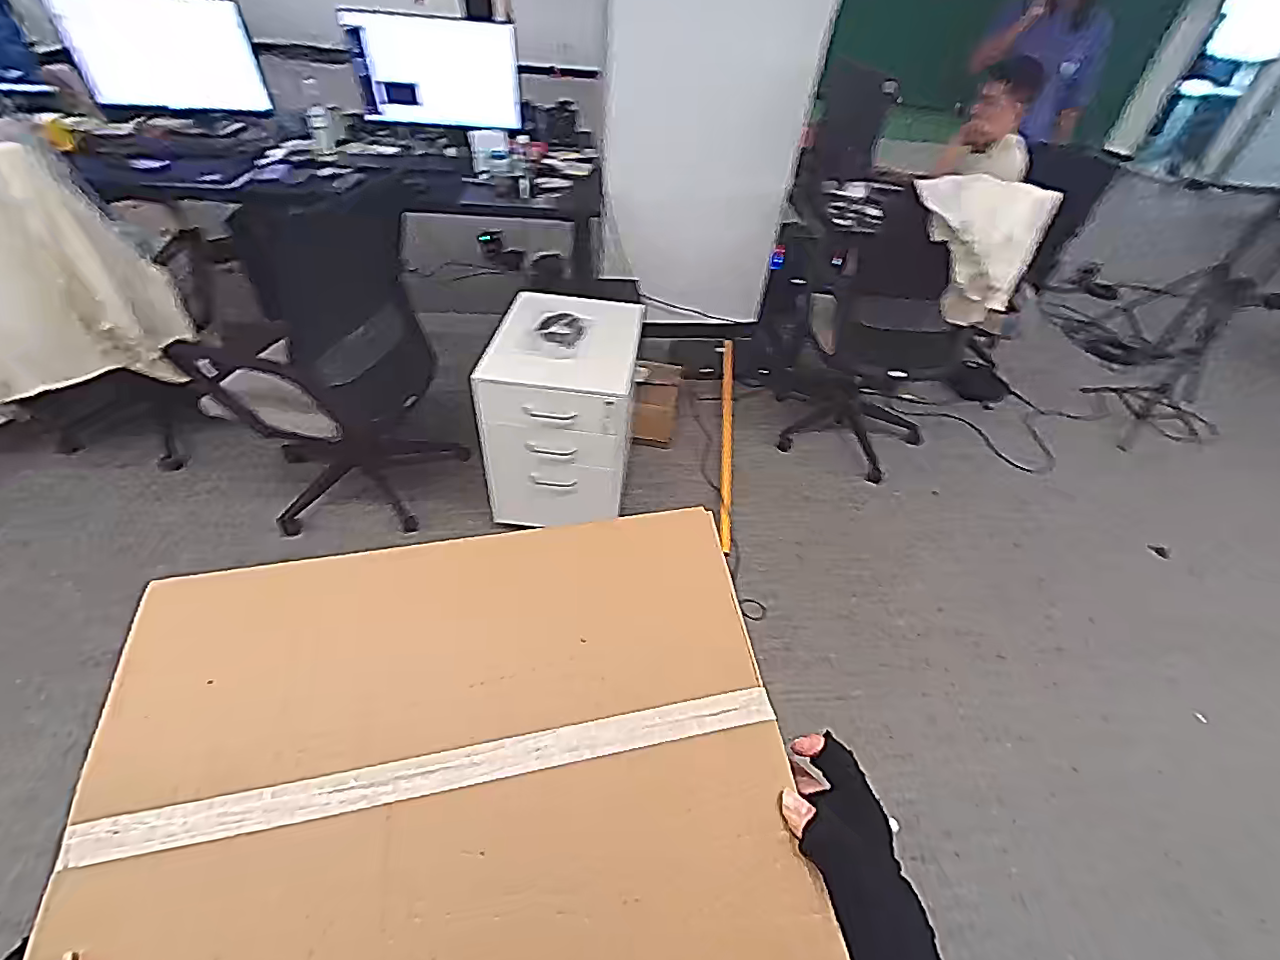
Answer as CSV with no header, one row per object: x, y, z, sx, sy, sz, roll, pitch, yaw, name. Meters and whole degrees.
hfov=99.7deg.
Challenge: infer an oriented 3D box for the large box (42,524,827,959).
-0.126,0.271,0.453,0.408,0.320,0.320,-8,56,-10,large box
